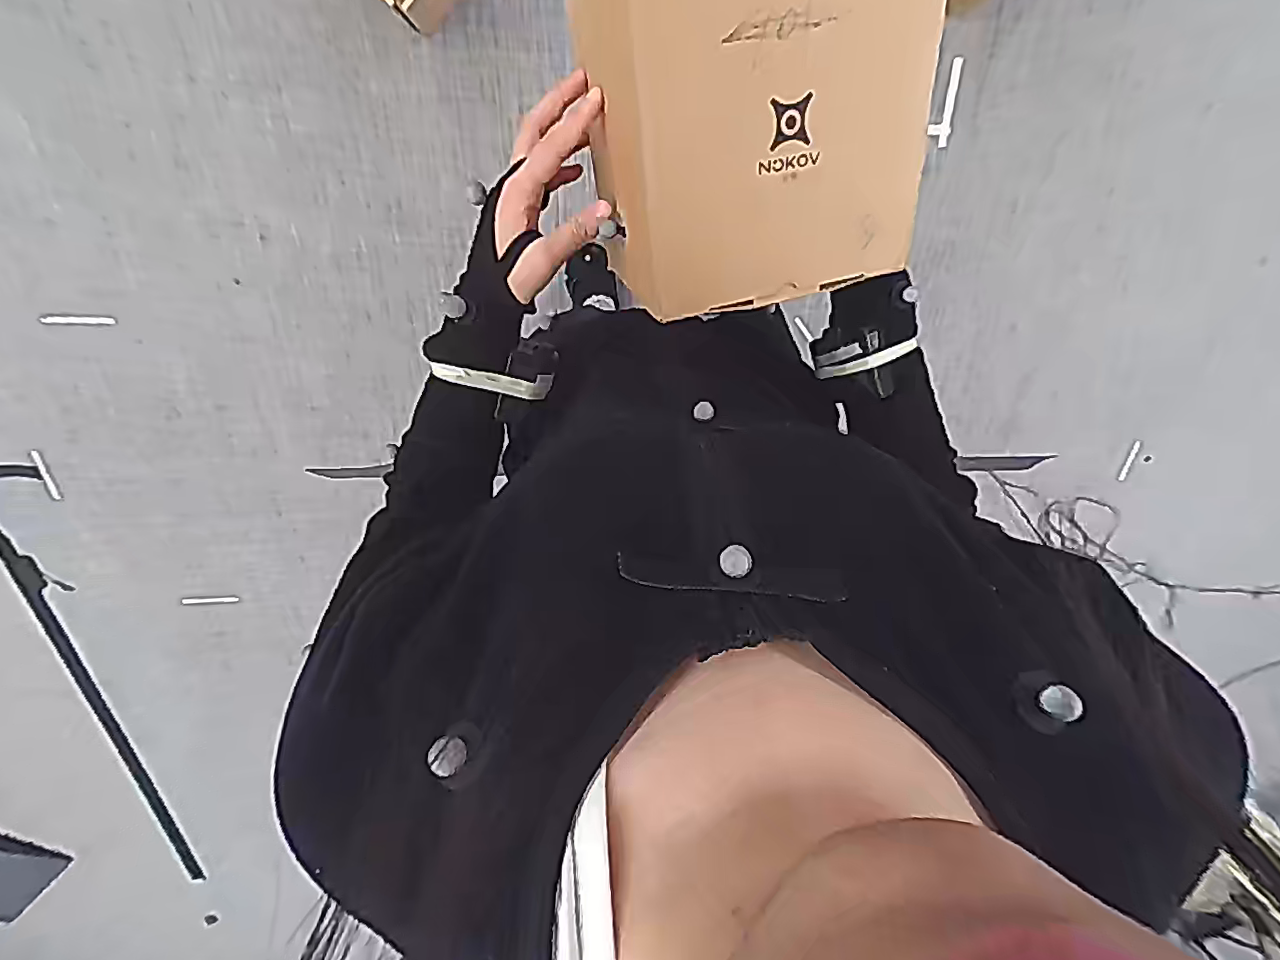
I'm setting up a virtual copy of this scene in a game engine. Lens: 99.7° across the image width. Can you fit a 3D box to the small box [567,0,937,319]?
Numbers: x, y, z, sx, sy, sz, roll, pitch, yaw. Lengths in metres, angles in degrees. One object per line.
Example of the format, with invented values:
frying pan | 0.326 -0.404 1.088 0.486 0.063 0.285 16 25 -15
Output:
small box | 0.057 -0.230 0.353 0.168 0.176 0.179 -15 125 -7
